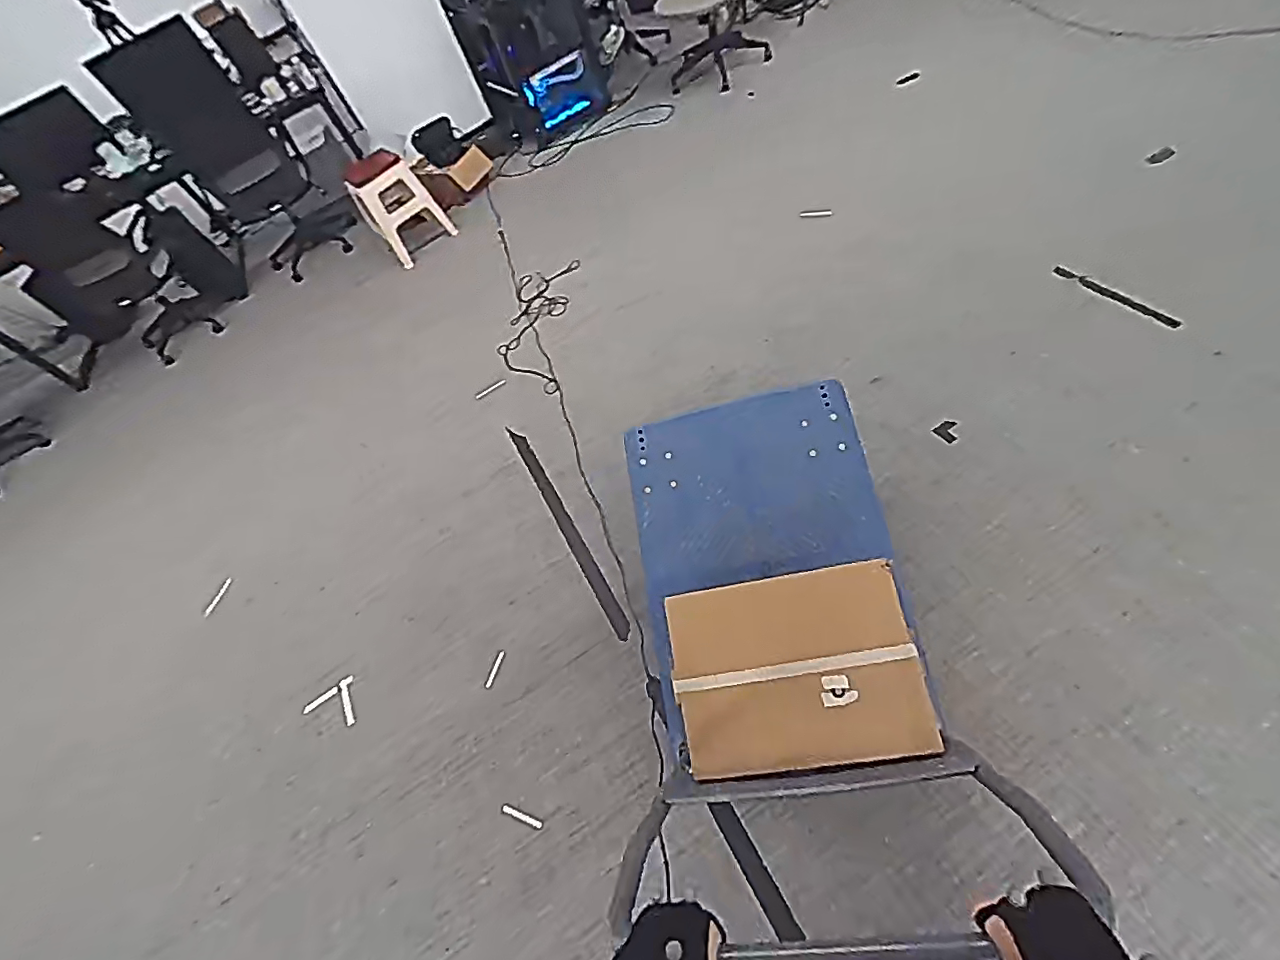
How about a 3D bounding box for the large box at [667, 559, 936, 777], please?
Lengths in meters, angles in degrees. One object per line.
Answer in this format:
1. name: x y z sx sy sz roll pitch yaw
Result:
1. large box: 0.297 0.369 1.086 0.408 0.320 0.320 -13 72 10
